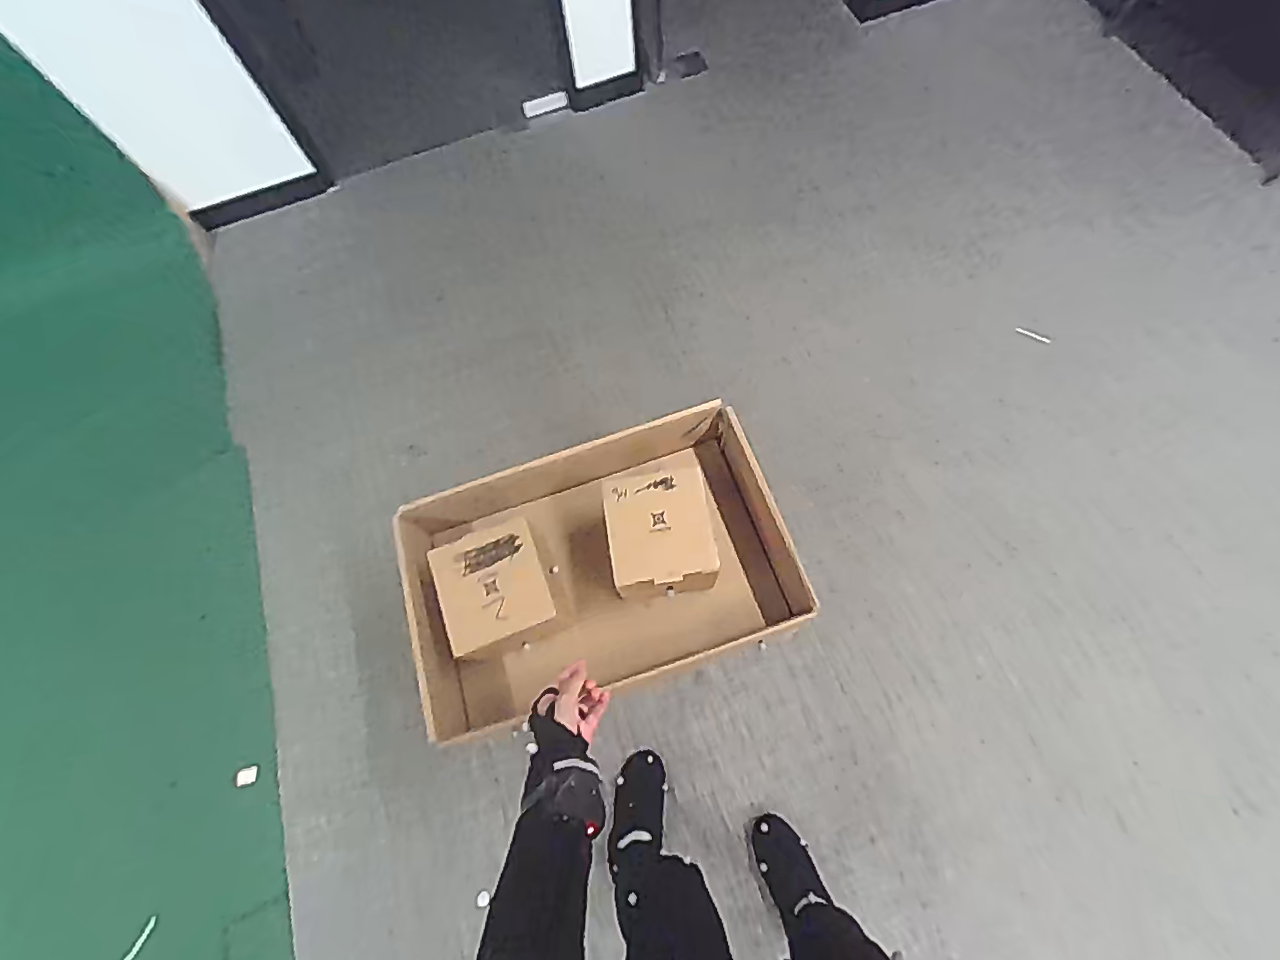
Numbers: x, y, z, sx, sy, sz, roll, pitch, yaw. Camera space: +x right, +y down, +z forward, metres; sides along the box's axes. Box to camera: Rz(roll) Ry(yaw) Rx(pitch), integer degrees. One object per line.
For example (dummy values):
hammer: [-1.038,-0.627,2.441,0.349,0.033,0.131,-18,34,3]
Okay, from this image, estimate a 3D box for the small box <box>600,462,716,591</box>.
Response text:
small box: [0.032,0.089,0.920,0.168,0.176,0.179,-8,70,1]
